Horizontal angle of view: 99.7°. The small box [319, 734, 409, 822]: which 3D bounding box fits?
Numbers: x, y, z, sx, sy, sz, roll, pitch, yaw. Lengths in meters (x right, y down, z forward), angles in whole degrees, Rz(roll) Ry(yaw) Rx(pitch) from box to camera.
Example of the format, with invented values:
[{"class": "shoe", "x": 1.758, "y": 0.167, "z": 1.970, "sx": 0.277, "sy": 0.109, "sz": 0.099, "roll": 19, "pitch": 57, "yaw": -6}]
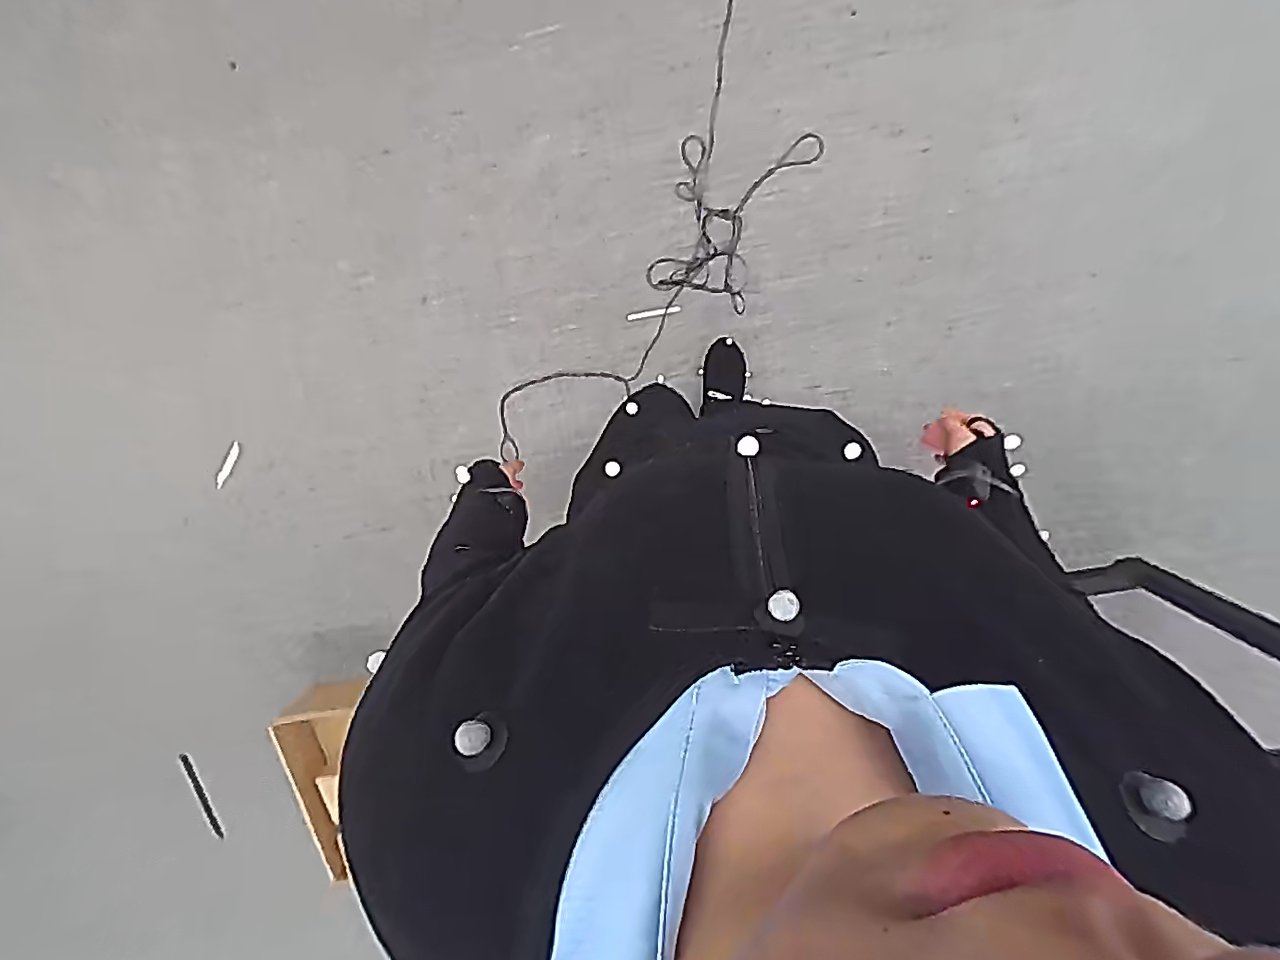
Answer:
[{"class": "small box", "x": -0.844, "y": 0.918, "z": 1.678, "sx": 0.179, "sy": 0.176, "sz": 0.168, "roll": -11, "pitch": 103, "yaw": 6}]
